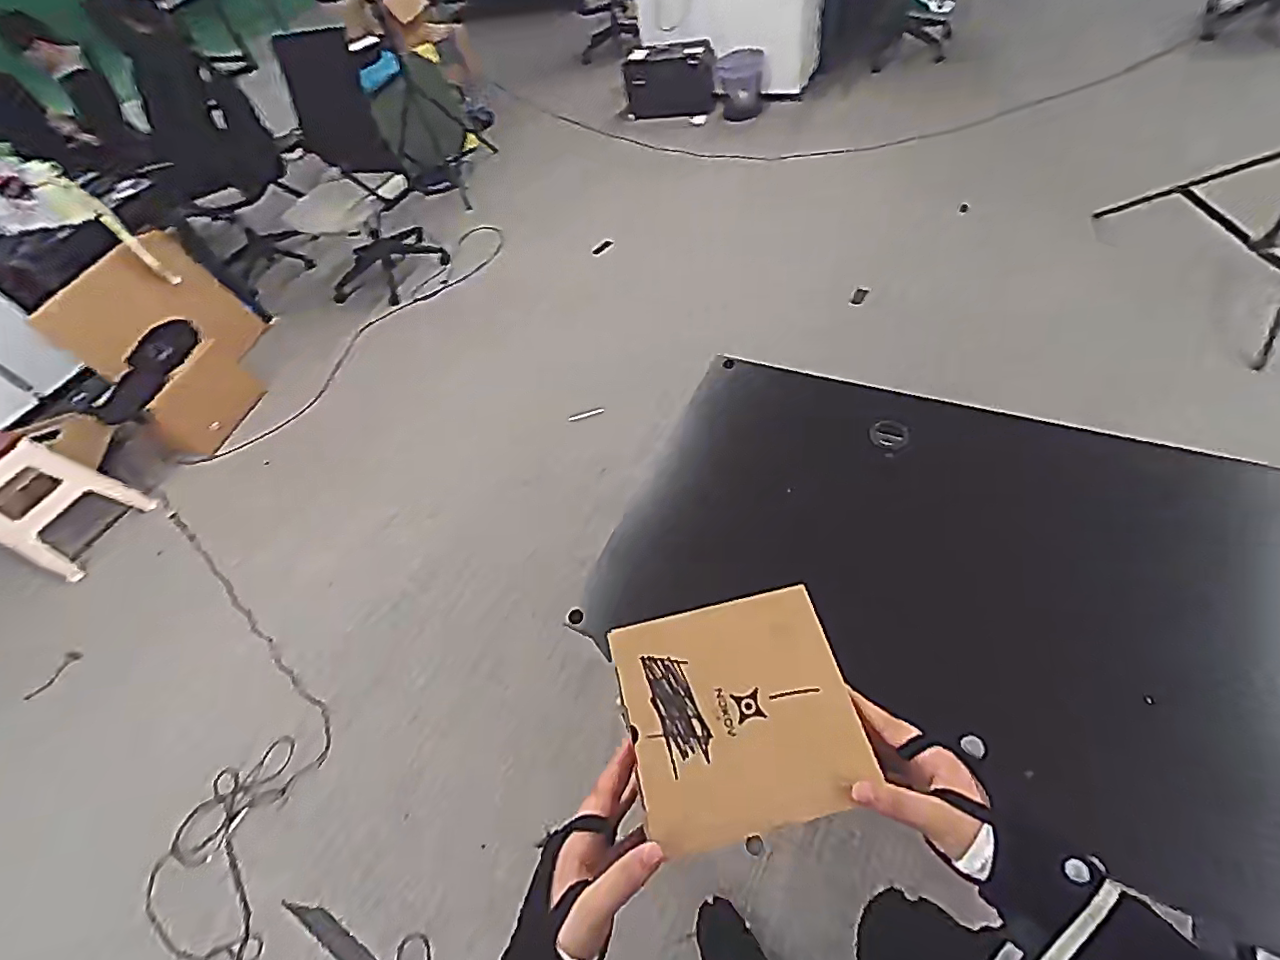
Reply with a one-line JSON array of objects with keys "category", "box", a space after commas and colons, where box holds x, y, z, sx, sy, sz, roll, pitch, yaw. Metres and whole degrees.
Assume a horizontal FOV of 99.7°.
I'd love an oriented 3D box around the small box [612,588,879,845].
[{"category": "small box", "box": [0.080, 0.220, 0.494, 0.179, 0.176, 0.168, -11, 58, -4]}]
